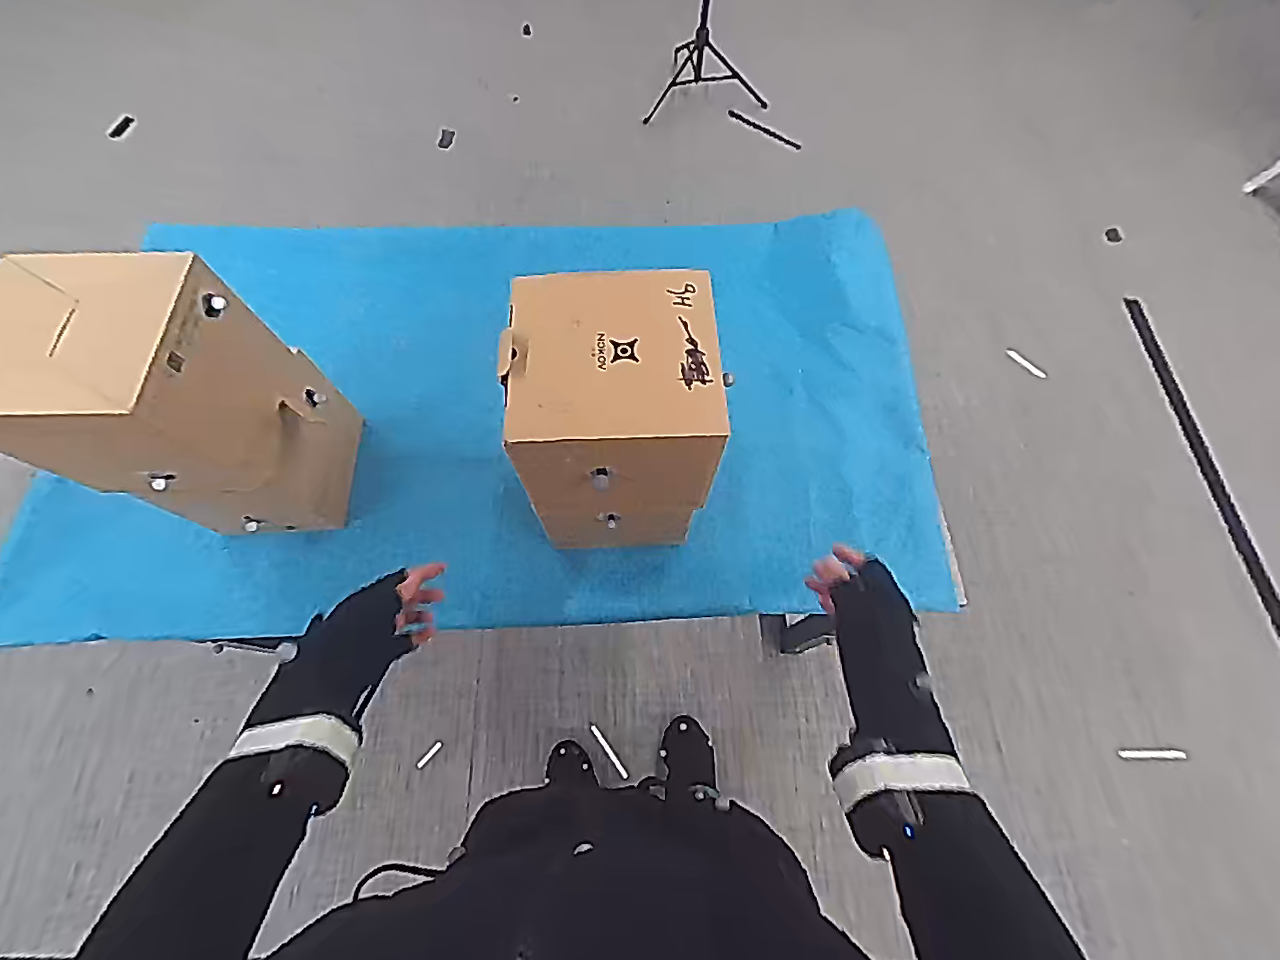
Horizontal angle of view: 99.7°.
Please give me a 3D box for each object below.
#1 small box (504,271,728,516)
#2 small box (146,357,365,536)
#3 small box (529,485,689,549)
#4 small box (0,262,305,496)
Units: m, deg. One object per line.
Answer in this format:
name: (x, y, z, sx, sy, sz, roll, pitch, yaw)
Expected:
small box: (-0.023, -0.071, 0.518, 0.179, 0.176, 0.168, -5, 67, -2)
small box: (-0.478, -0.037, 0.685, 0.168, 0.176, 0.179, 0, 69, 2)
small box: (-0.029, -0.015, 0.670, 0.179, 0.176, 0.168, -1, 68, 0)
small box: (-0.476, -0.091, 0.527, 0.179, 0.176, 0.168, 0, 67, 0)
